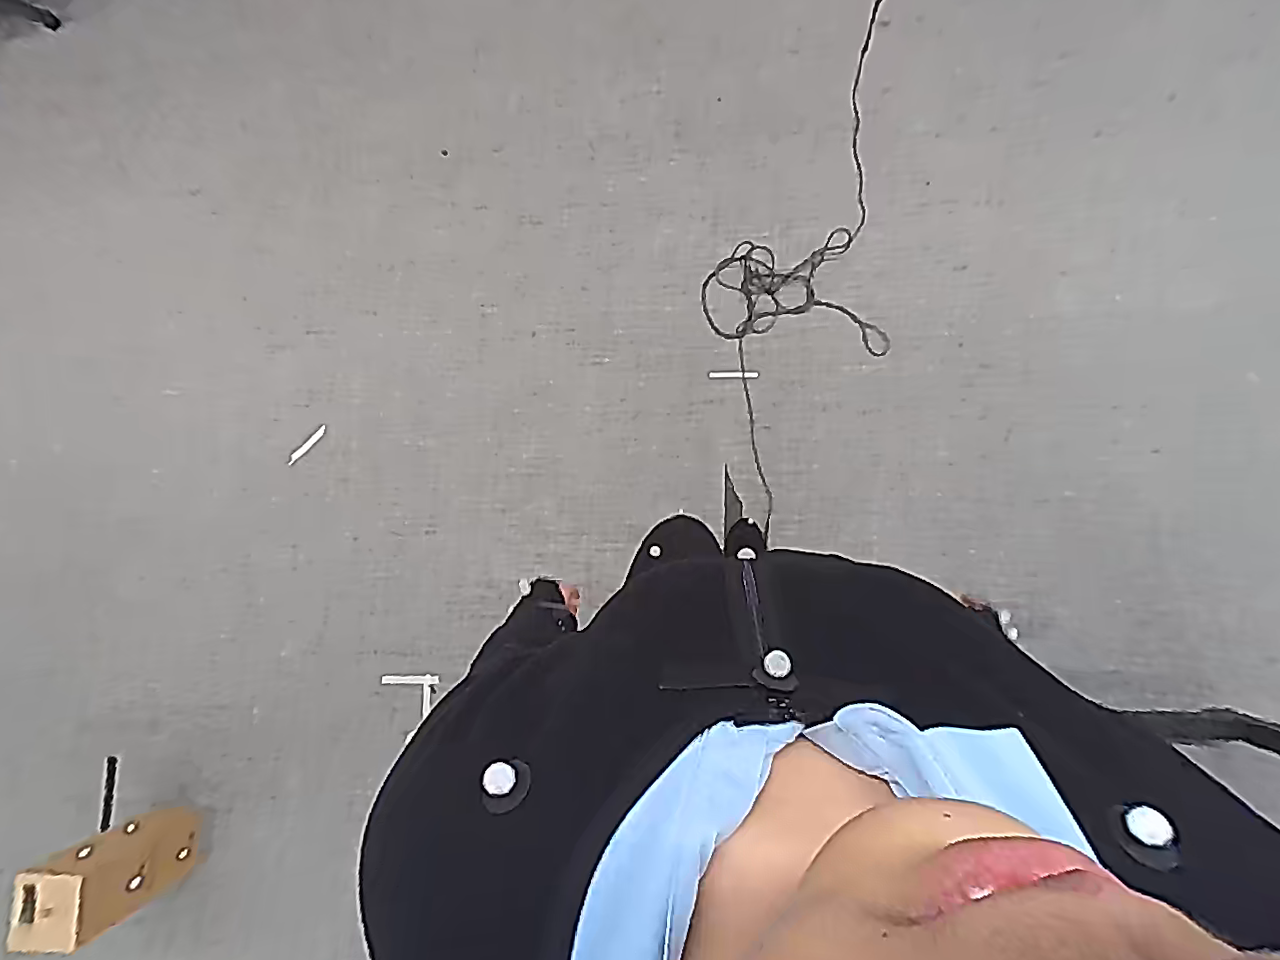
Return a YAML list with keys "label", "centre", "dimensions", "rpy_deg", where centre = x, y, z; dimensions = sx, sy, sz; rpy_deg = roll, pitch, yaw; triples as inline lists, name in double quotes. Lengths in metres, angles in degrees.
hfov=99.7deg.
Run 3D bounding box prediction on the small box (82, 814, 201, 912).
- label: "small box"
  centre: [-1.371, 1.050, 1.493]
  dimensions: [0.179, 0.176, 0.168]
  rpy_deg: [-5, 83, 5]
